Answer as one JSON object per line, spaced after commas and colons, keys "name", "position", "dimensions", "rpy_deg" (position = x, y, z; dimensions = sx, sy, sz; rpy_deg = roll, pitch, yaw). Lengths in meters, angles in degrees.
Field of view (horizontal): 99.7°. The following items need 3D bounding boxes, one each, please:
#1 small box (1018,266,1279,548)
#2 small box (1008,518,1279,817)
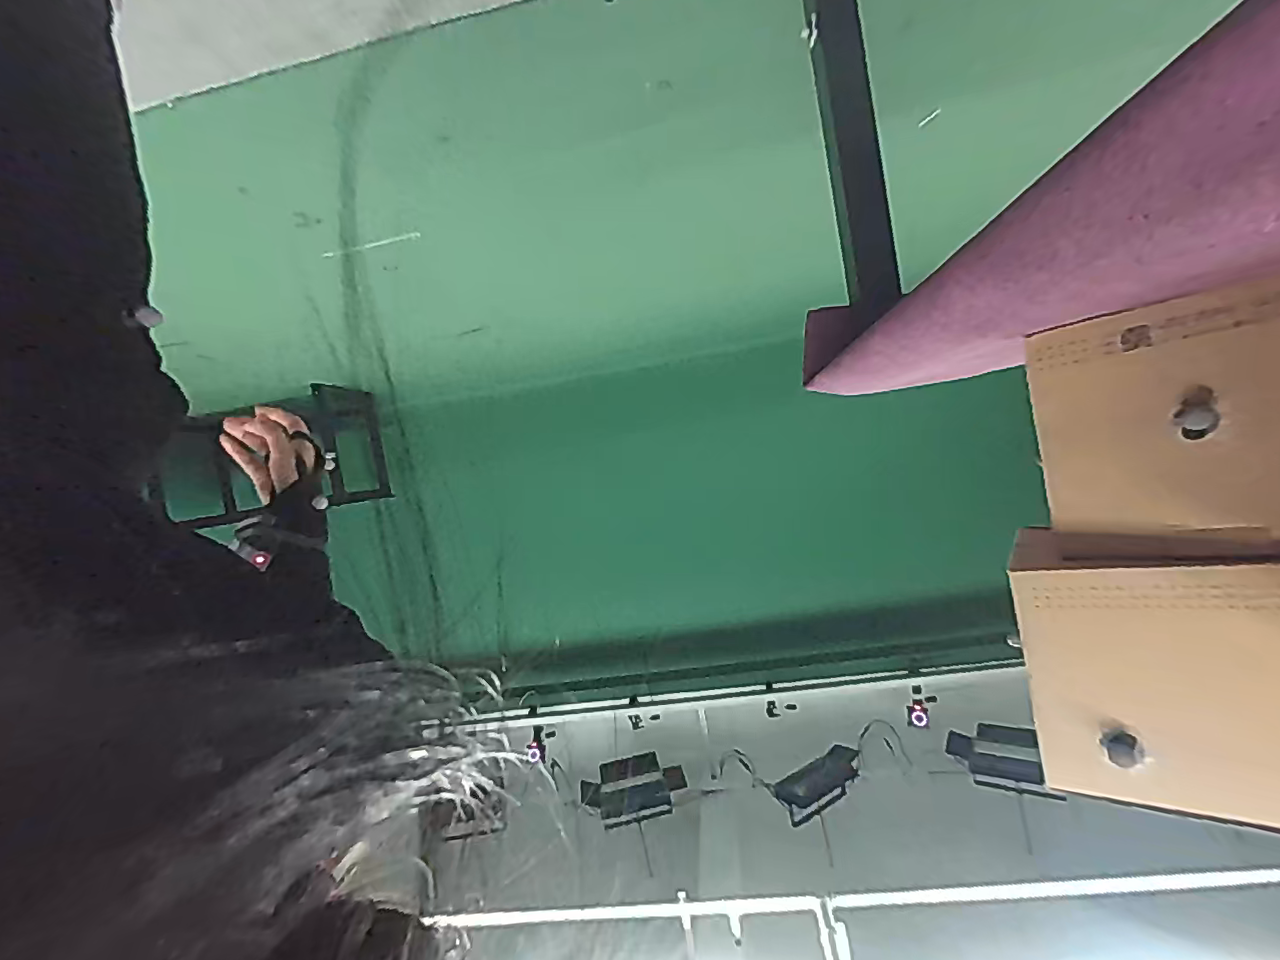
{"name": "small box", "position": [0.404, -0.052, 0.403], "dimensions": [0.168, 0.176, 0.179], "rpy_deg": [-9, -178, 45]}
{"name": "small box", "position": [0.395, 0.117, 0.412], "dimensions": [0.179, 0.176, 0.168], "rpy_deg": [-10, -178, 37]}
